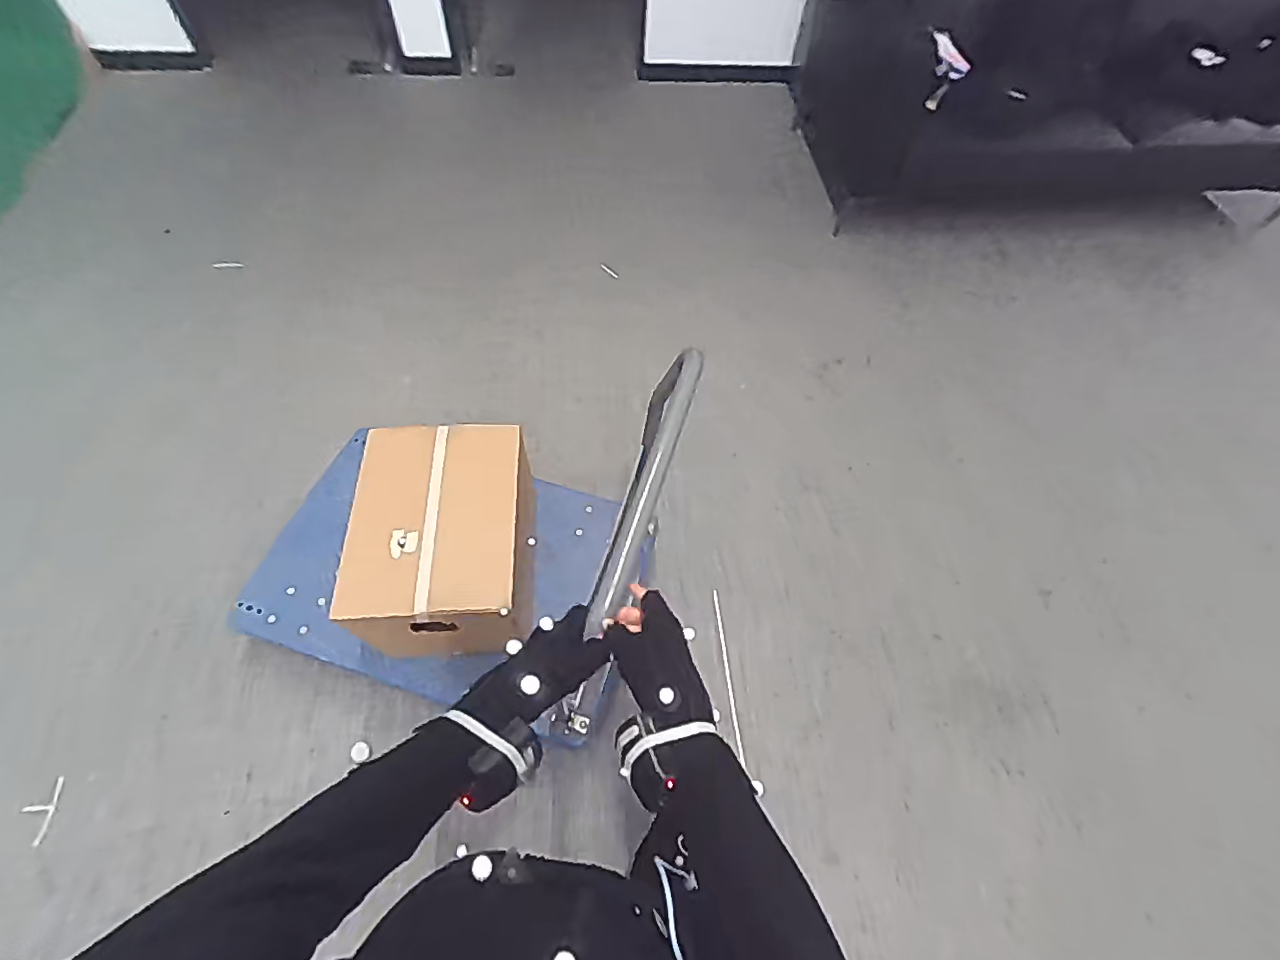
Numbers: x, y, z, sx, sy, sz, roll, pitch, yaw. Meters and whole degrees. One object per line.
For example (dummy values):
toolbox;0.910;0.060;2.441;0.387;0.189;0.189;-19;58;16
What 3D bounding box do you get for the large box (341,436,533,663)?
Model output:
large box;-0.401;0.155;1.183;0.320;0.320;0.408;-3;60;-5
